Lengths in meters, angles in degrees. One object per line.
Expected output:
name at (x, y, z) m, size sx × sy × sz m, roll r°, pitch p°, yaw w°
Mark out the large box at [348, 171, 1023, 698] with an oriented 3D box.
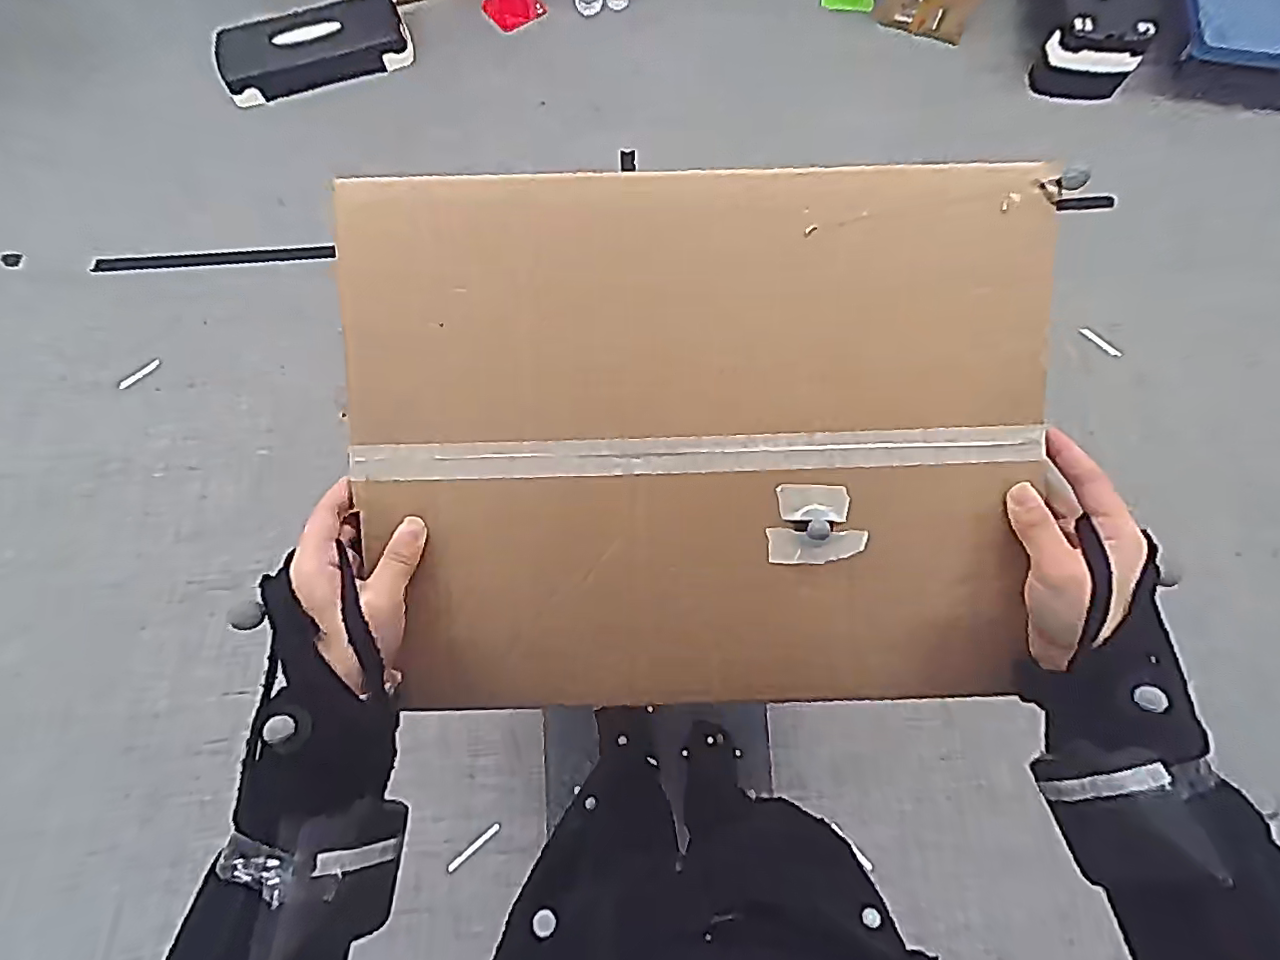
large box at (0.030, -0.035, 0.479) m, size 0.408 × 0.320 × 0.320 m, roll -2°, pitch 97°, yaw 0°
